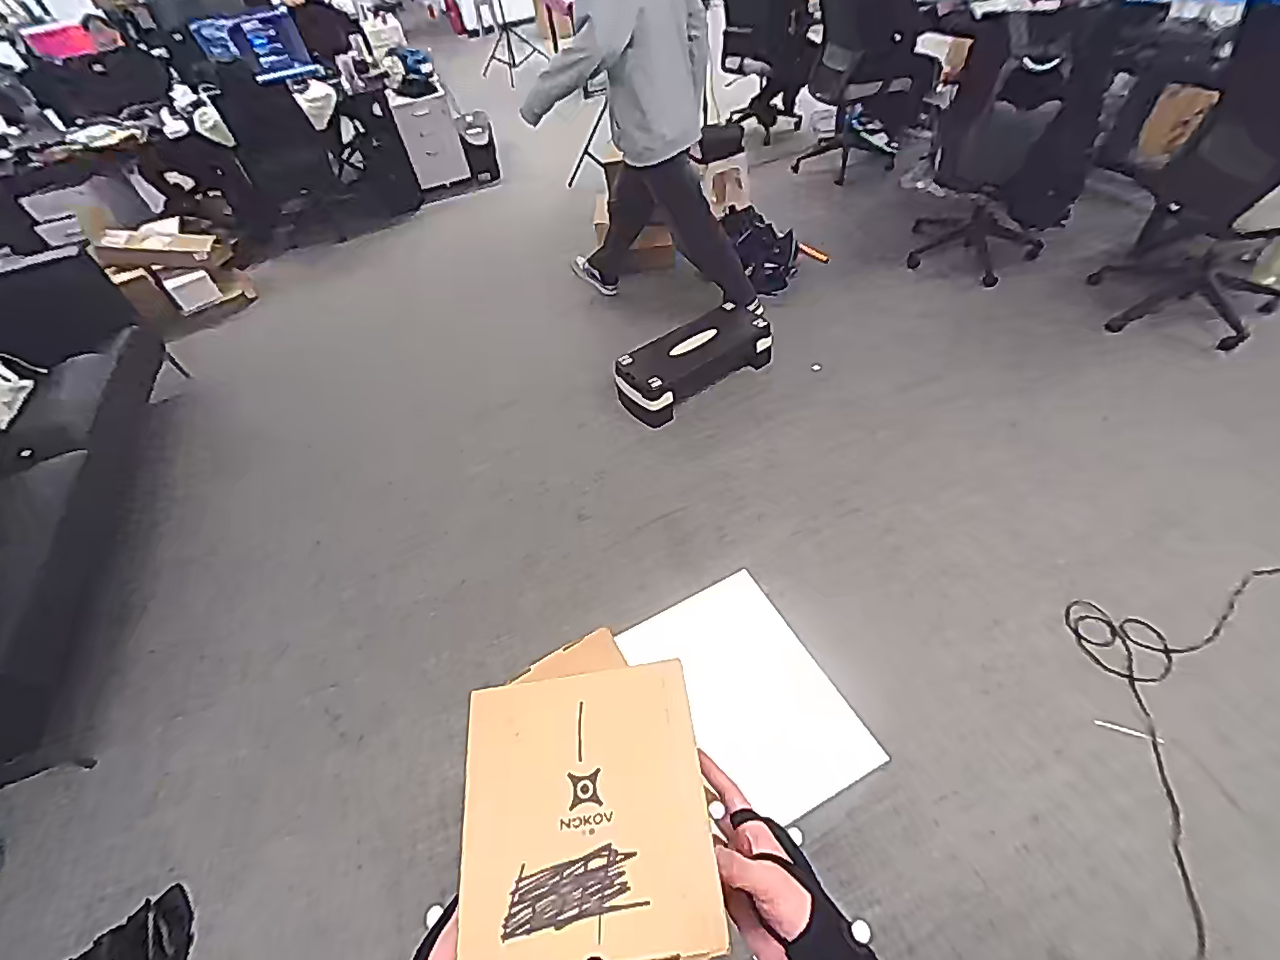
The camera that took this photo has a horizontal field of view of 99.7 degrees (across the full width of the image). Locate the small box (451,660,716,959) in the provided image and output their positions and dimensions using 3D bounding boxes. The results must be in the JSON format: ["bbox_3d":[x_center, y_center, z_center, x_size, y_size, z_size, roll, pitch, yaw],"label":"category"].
[{"bbox_3d":[-0.035,0.265,0.432,0.168,0.176,0.179,-9,53,0],"label":"small box"}]

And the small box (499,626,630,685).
[{"bbox_3d":[-0.061,0.323,0.671,0.168,0.176,0.179,-28,51,-14],"label":"small box"}]
